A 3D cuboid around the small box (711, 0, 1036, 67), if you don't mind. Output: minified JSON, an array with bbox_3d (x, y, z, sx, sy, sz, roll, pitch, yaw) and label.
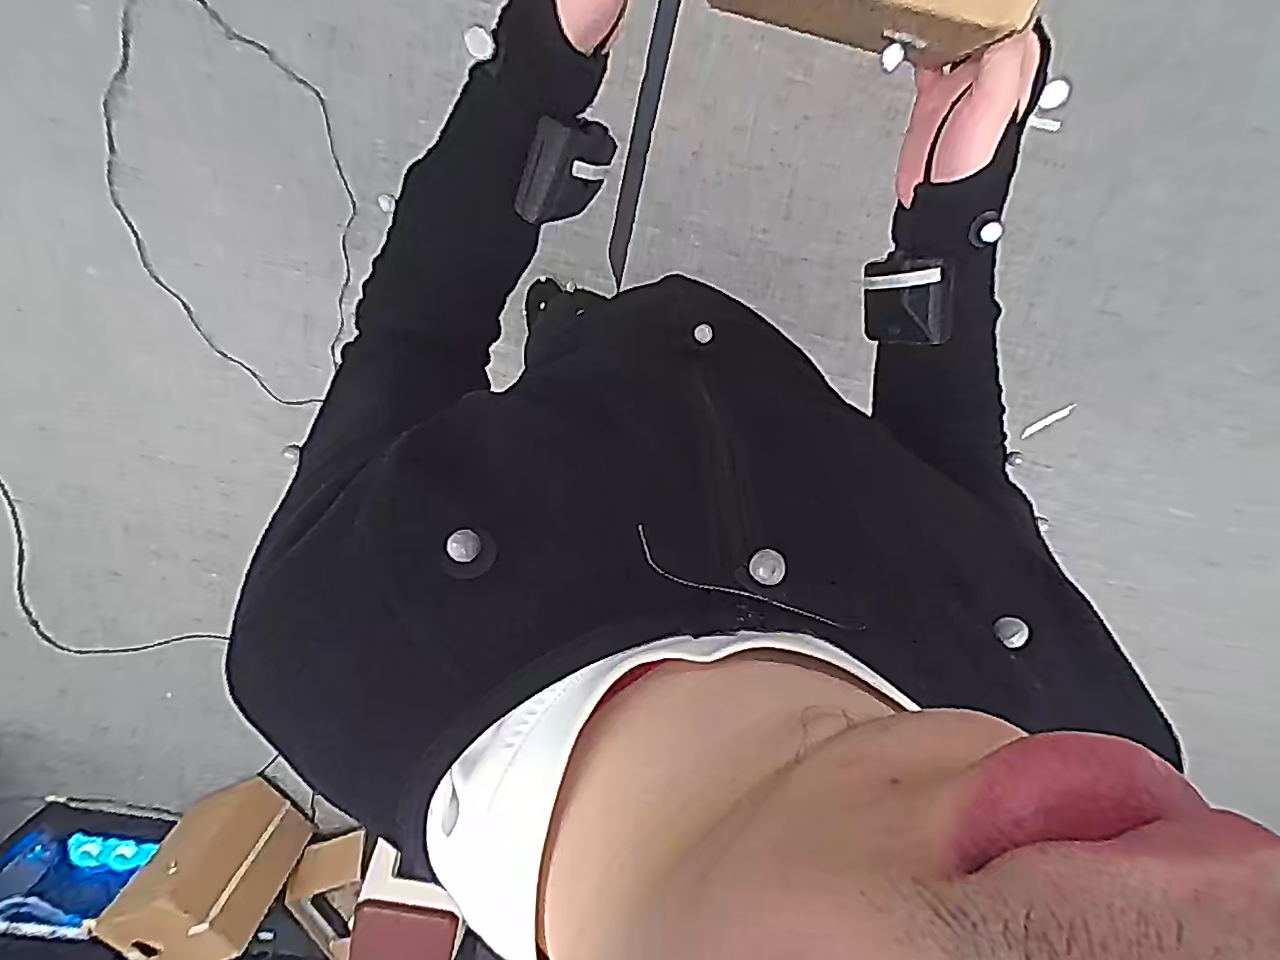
[{"bbox_3d":[0.126,-0.335,0.268,0.176,0.179,0.168,18,124,1],"label":"small box"}]
